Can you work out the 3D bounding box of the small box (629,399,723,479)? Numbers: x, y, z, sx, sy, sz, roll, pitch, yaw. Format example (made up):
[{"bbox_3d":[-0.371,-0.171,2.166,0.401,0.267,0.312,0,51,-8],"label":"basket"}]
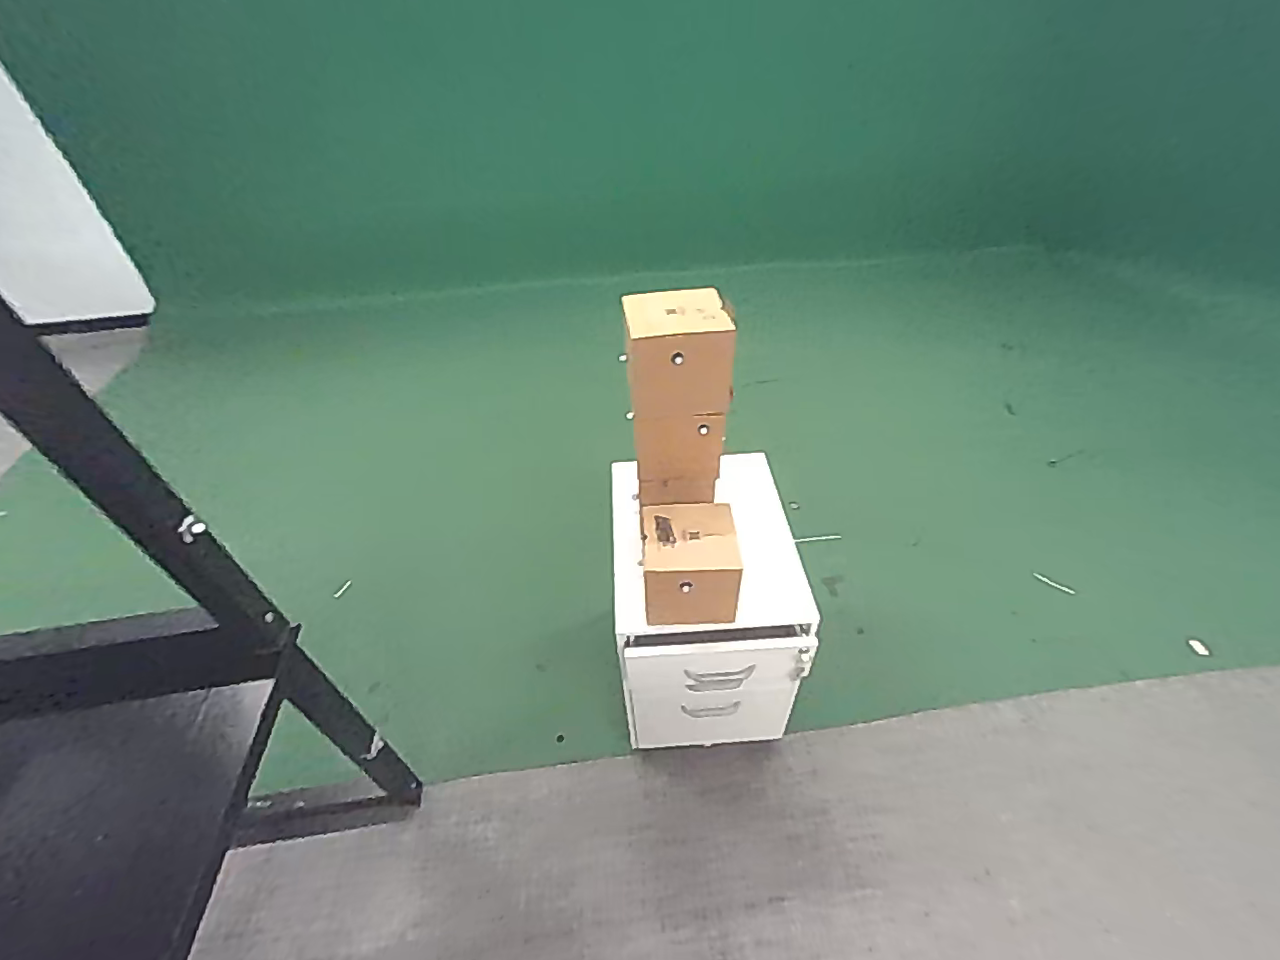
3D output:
[{"bbox_3d":[0.070,-0.115,1.103,0.179,0.176,0.168,-1,42,1],"label":"small box"}]

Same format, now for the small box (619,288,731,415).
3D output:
[{"bbox_3d":[0.059,-0.232,0.988,0.179,0.176,0.168,-6,43,-4],"label":"small box"}]

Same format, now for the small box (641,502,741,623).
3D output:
[{"bbox_3d":[0.092,0.160,1.039,0.179,0.176,0.168,-1,41,1],"label":"small box"}]
